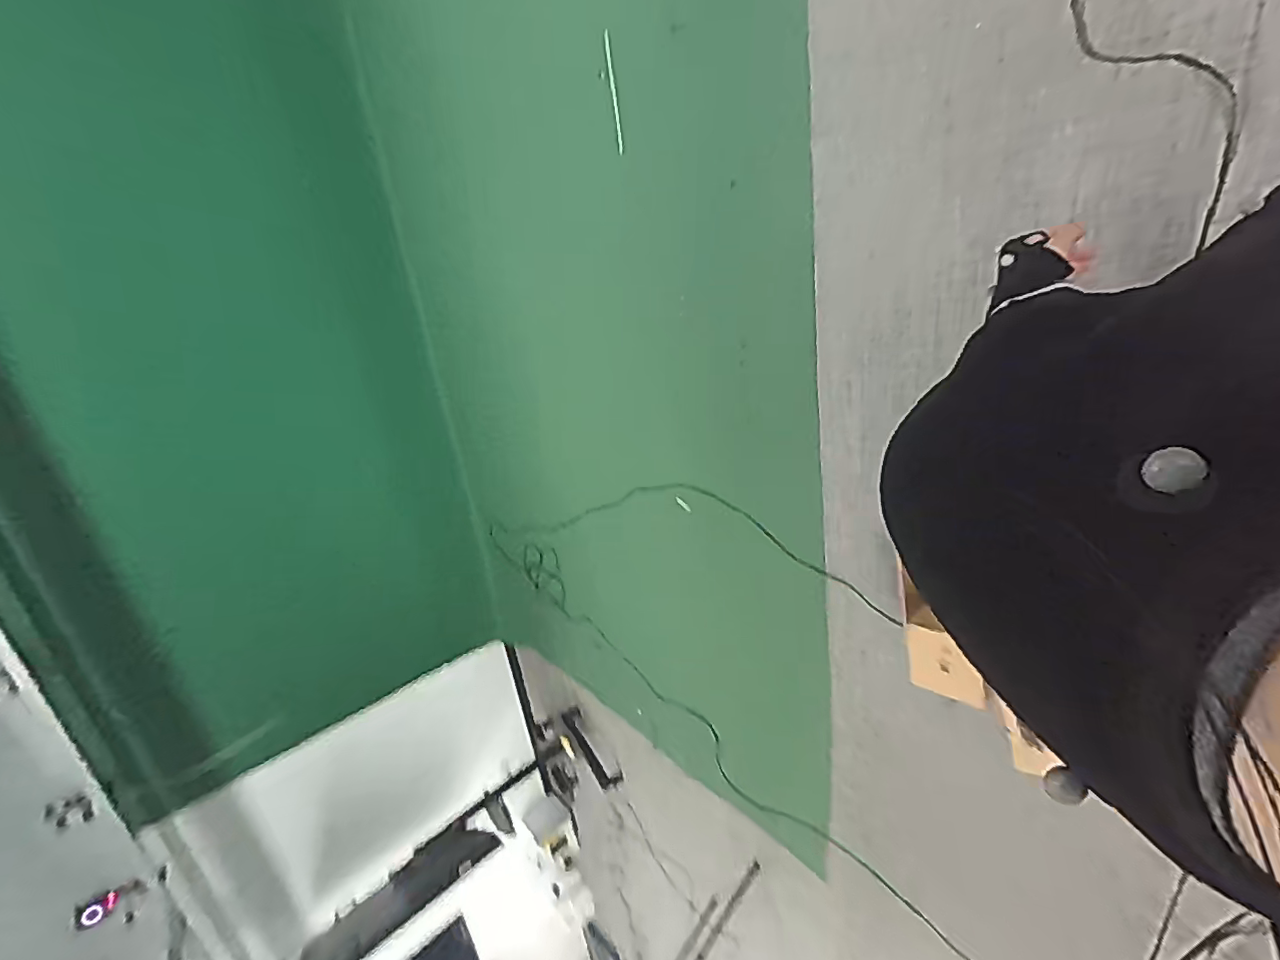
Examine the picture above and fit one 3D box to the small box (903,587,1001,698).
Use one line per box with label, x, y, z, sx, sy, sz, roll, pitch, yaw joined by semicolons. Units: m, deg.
small box;0.774;0.393;1.339;0.168;0.176;0.179;9;115;48
